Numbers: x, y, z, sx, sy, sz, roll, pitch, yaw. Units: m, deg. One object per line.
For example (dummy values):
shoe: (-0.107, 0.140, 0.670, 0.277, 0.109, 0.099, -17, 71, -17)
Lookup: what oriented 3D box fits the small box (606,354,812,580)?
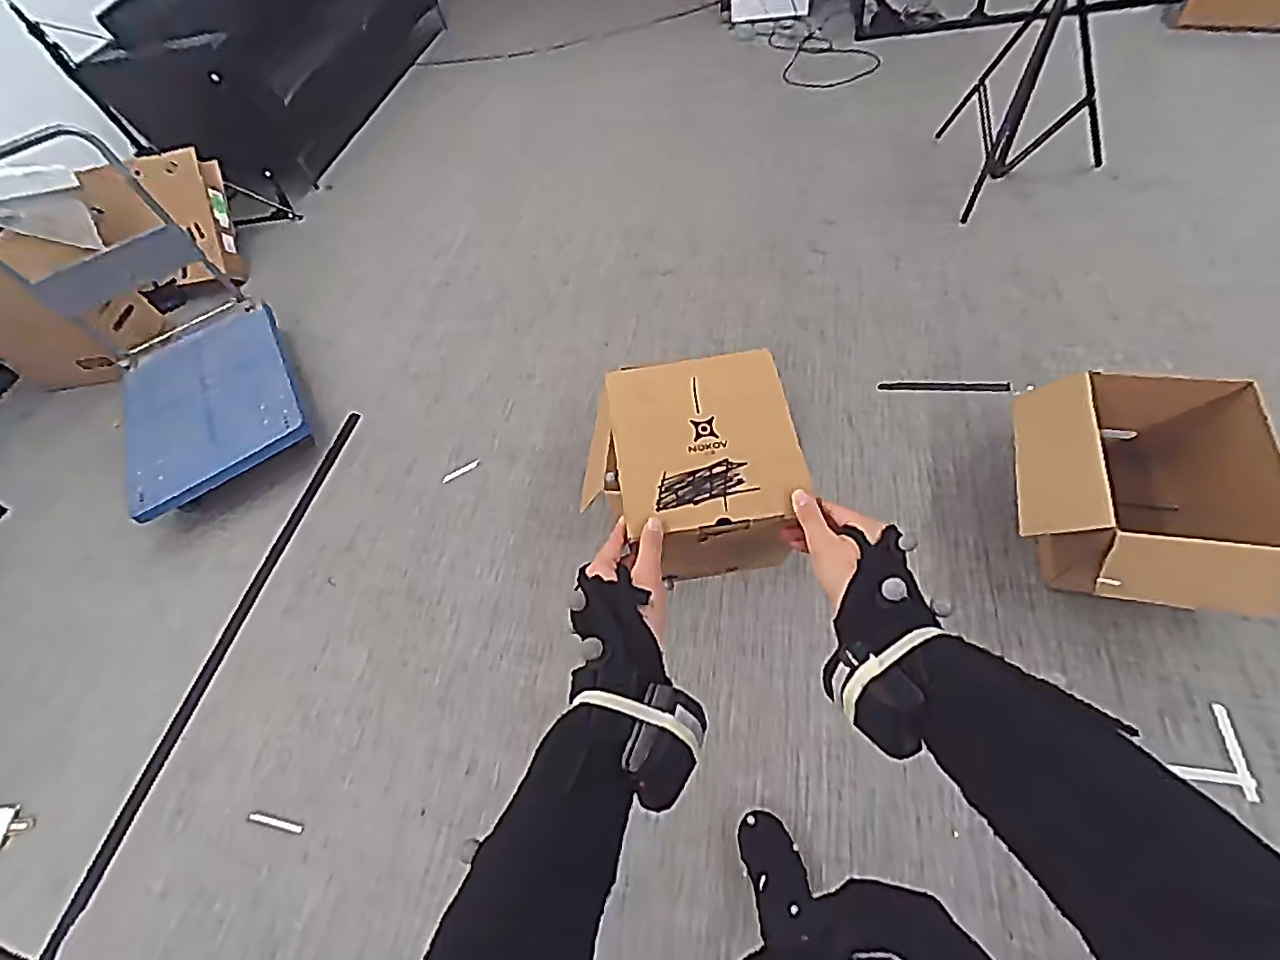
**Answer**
small box: (0.062, -0.002, 0.569, 0.168, 0.176, 0.179, -9, 64, -2)
